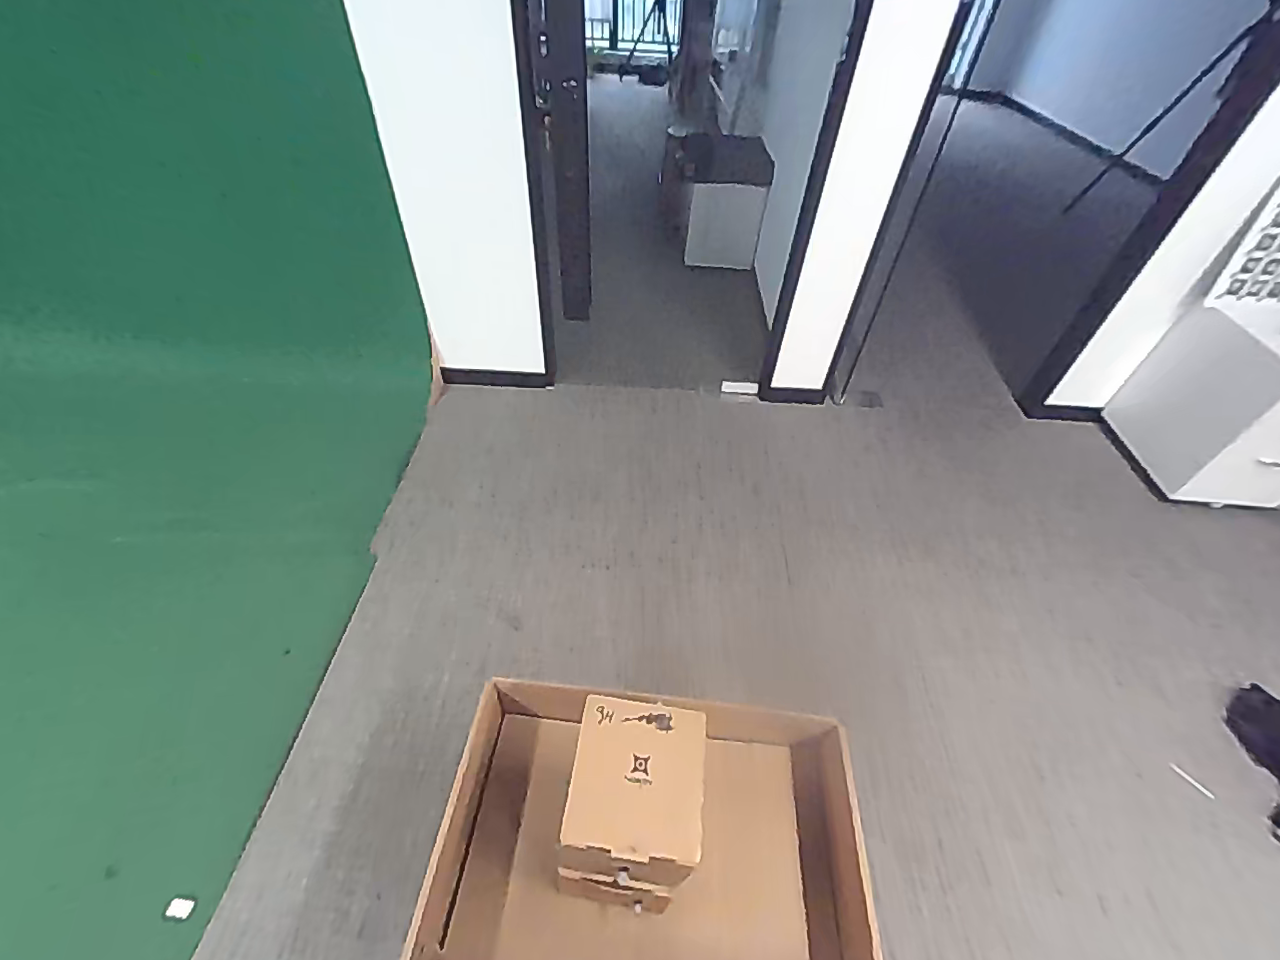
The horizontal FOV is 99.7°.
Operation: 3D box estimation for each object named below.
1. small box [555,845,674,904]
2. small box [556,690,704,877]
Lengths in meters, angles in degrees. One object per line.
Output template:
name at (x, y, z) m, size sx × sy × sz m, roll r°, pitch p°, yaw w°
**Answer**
small box at (-0.030, 0.534, 0.843) m, size 0.168 × 0.176 × 0.179 m, roll 10°, pitch 44°, yaw 1°
small box at (-0.012, 0.414, 0.732) m, size 0.168 × 0.176 × 0.179 m, roll 9°, pitch 47°, yaw 0°
